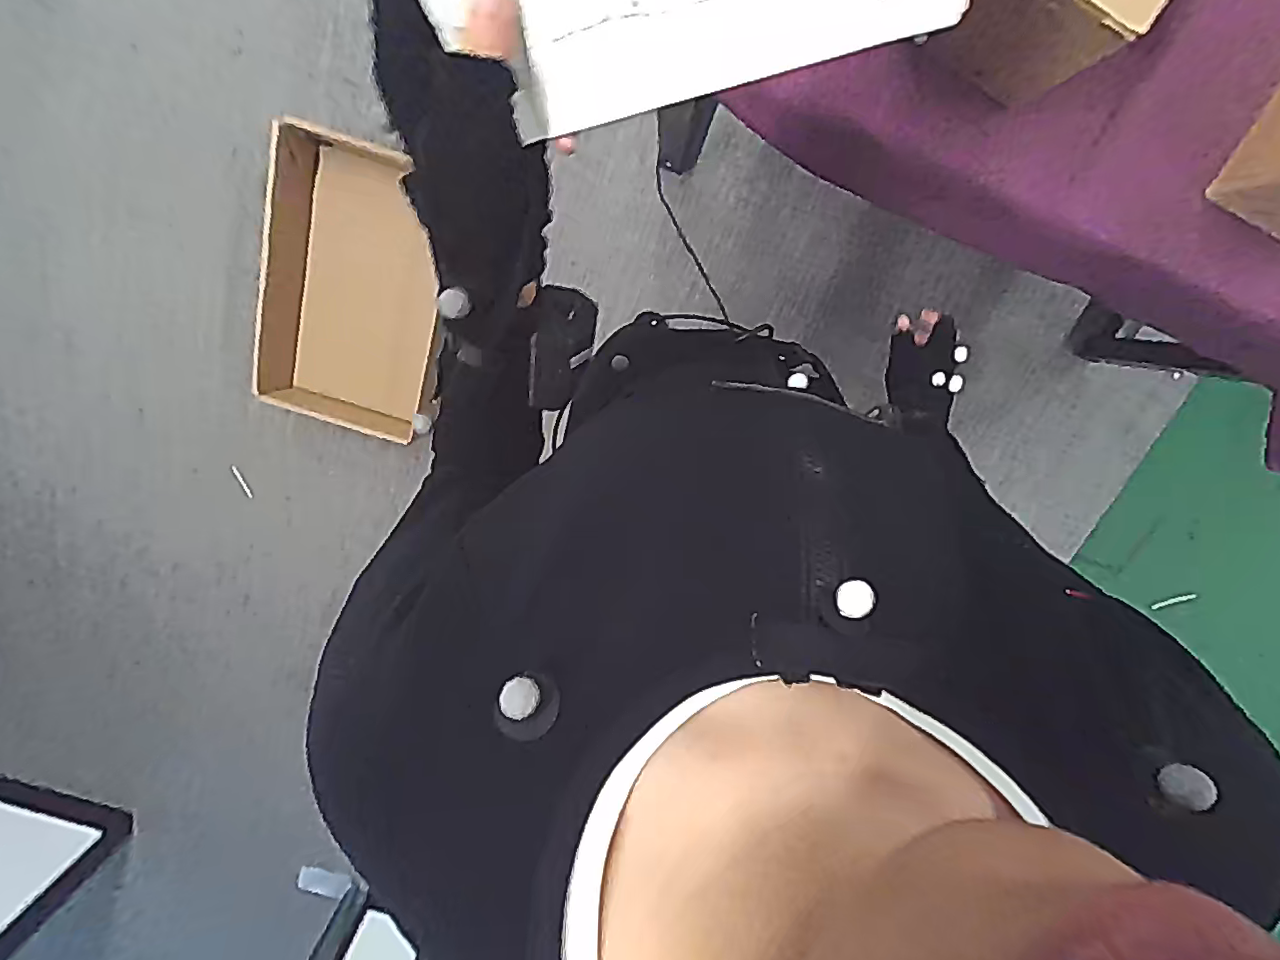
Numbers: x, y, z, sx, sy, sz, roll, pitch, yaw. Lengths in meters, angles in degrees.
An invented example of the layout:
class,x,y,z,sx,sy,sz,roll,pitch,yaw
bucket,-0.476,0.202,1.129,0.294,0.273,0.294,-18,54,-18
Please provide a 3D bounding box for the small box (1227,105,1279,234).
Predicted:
class,x,y,z,sx,sy,sz,roll,pitch,yaw
small box,0.740,-0.327,0.511,0.168,0.176,0.179,25,108,-5

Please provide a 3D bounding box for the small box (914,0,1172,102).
class,x,y,z,sx,sy,sz,roll,pitch,yaw
small box,0.376,-0.482,0.474,0.168,0.176,0.179,29,107,-7
